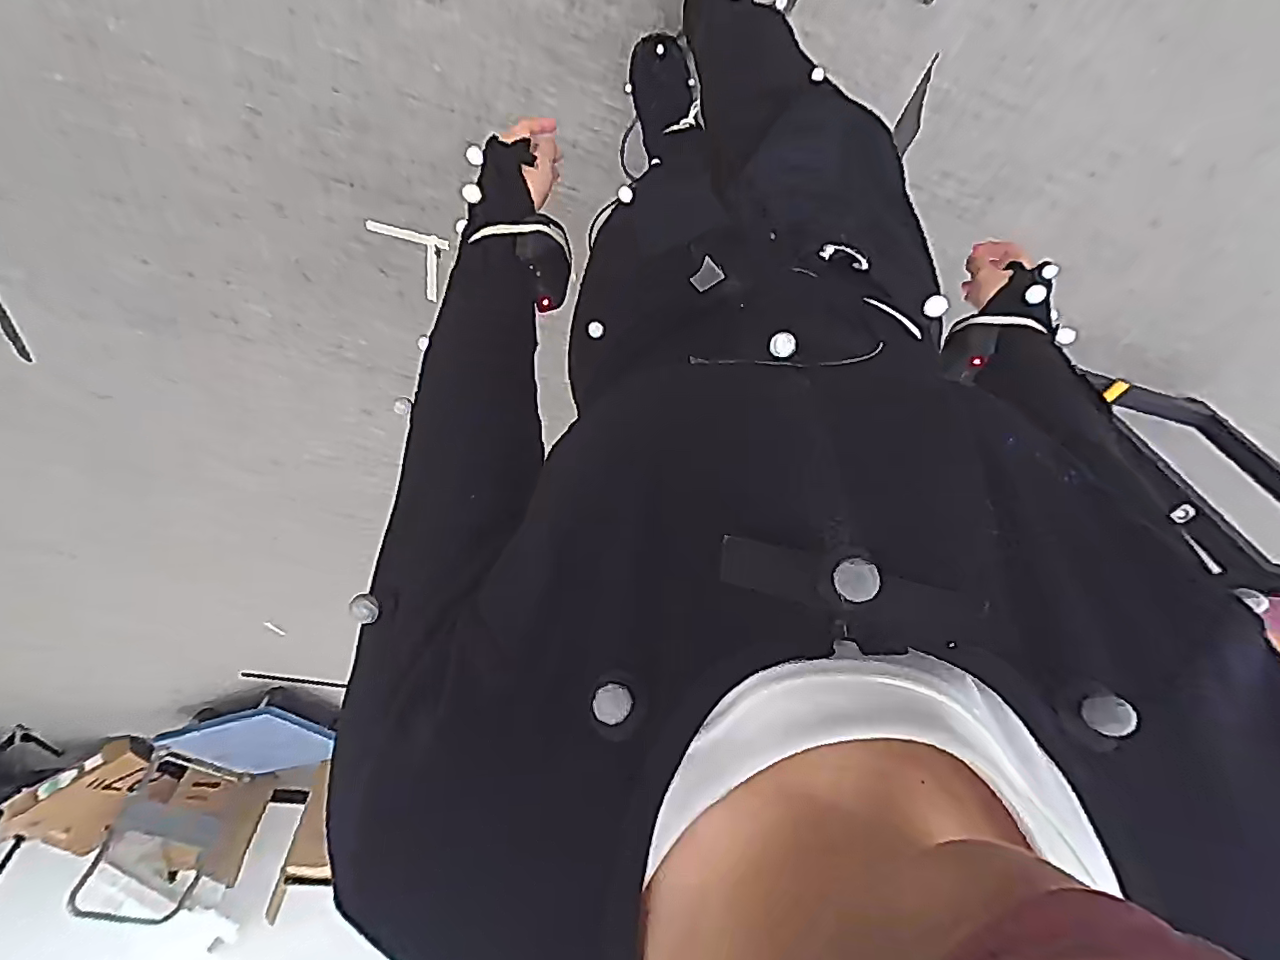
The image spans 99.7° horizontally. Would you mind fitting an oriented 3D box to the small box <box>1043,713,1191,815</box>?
[{"bbox_3d":[1.111,0.675,1.283,0.168,0.176,0.179,11,134,-12],"label":"small box"}]
